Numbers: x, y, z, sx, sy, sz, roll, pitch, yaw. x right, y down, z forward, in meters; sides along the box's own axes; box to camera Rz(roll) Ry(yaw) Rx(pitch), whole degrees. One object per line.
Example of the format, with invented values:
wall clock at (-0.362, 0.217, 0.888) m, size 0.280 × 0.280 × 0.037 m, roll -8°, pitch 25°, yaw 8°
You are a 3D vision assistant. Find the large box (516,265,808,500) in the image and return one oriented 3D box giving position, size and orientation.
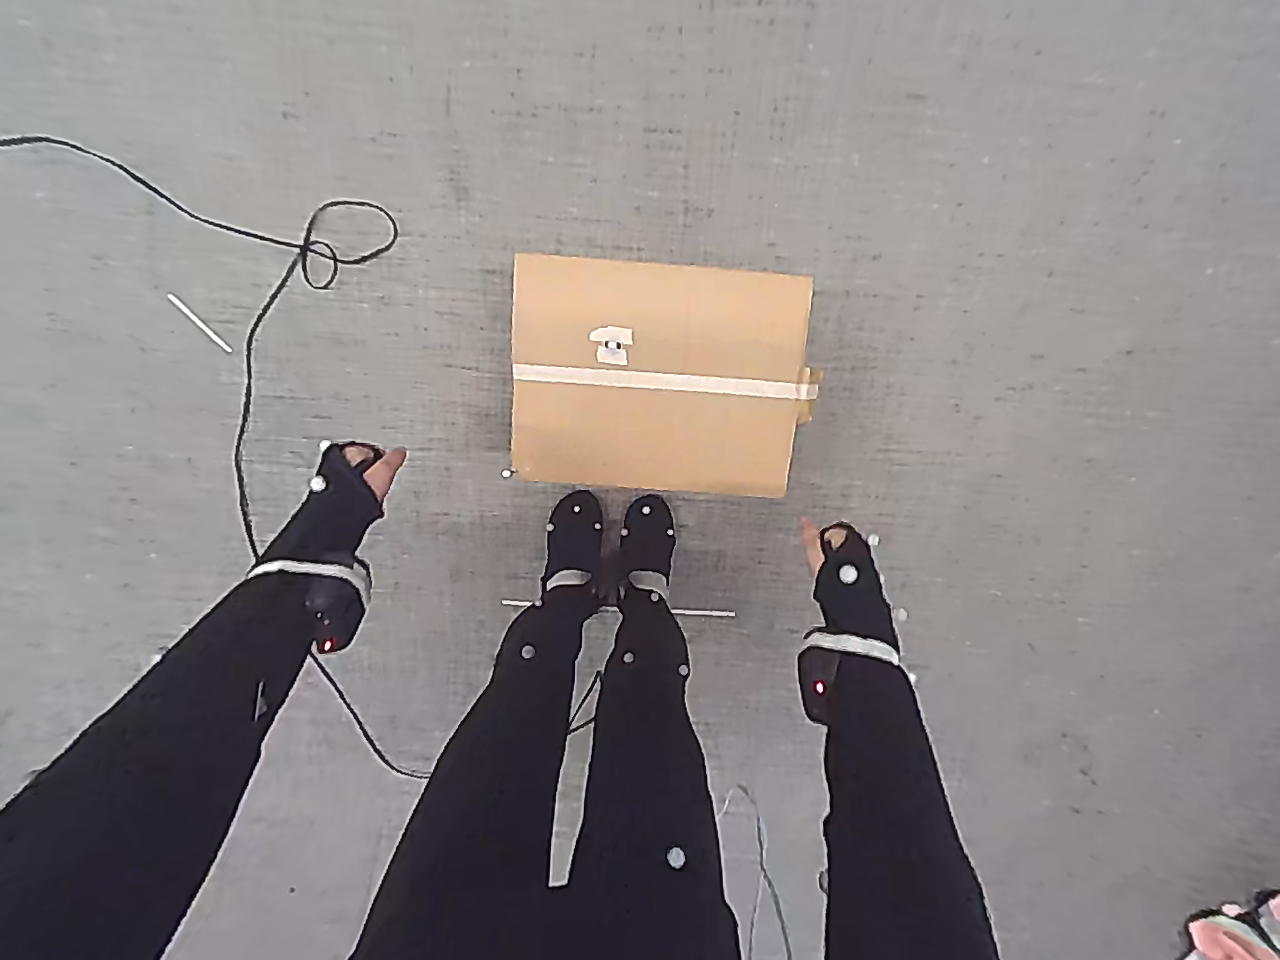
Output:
large box at (0.026, -0.166, 0.913) m, size 0.408 × 0.320 × 0.320 m, roll 5°, pitch 102°, yaw -1°
